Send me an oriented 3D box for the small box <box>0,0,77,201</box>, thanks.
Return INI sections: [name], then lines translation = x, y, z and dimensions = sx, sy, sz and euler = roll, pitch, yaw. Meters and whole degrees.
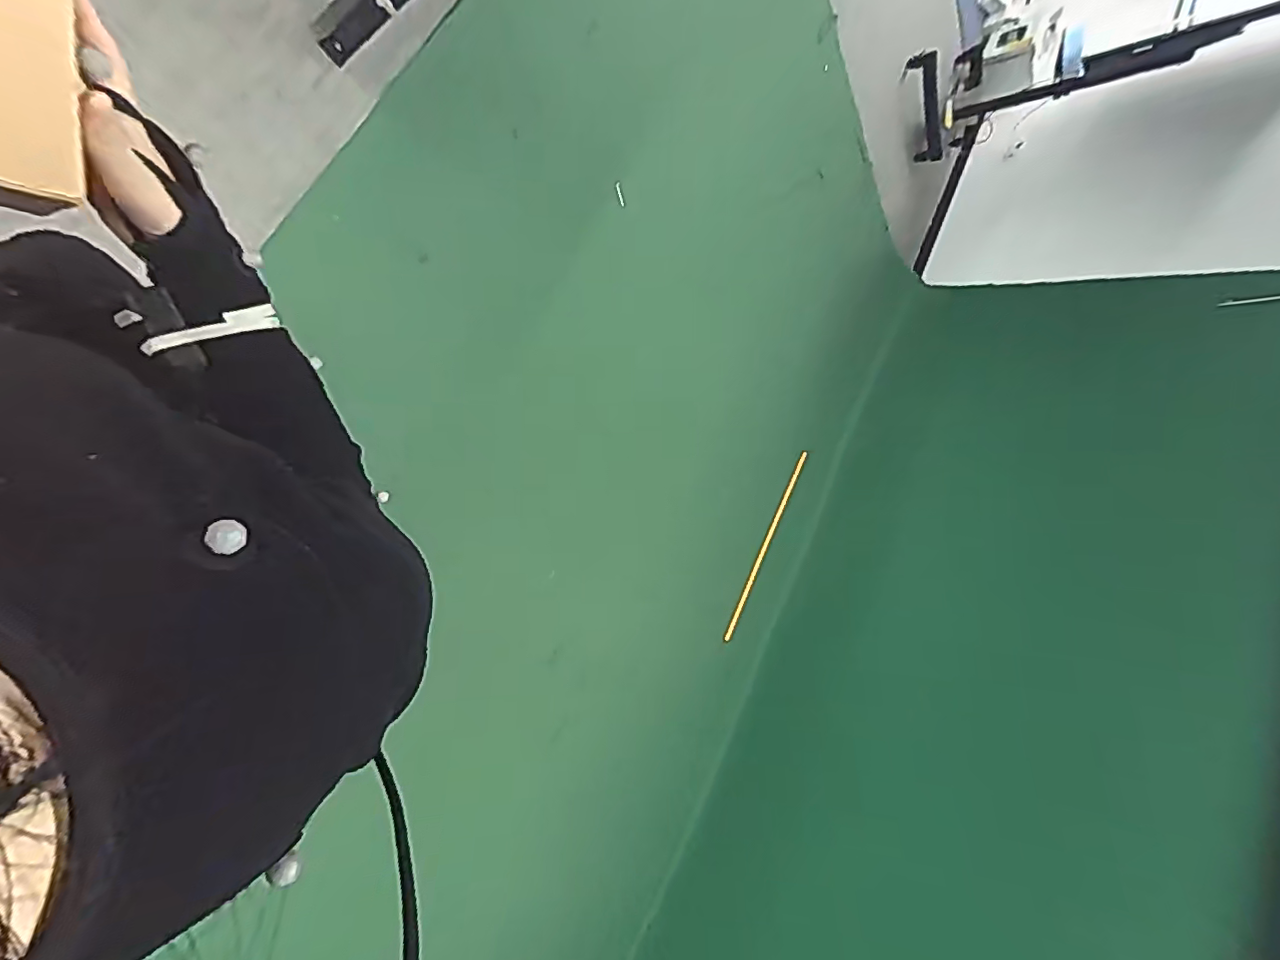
[small box]
translation = -0.395, -0.250, 0.252
dimensions = 0.168, 0.176, 0.179
euler = -5, 111, -52
